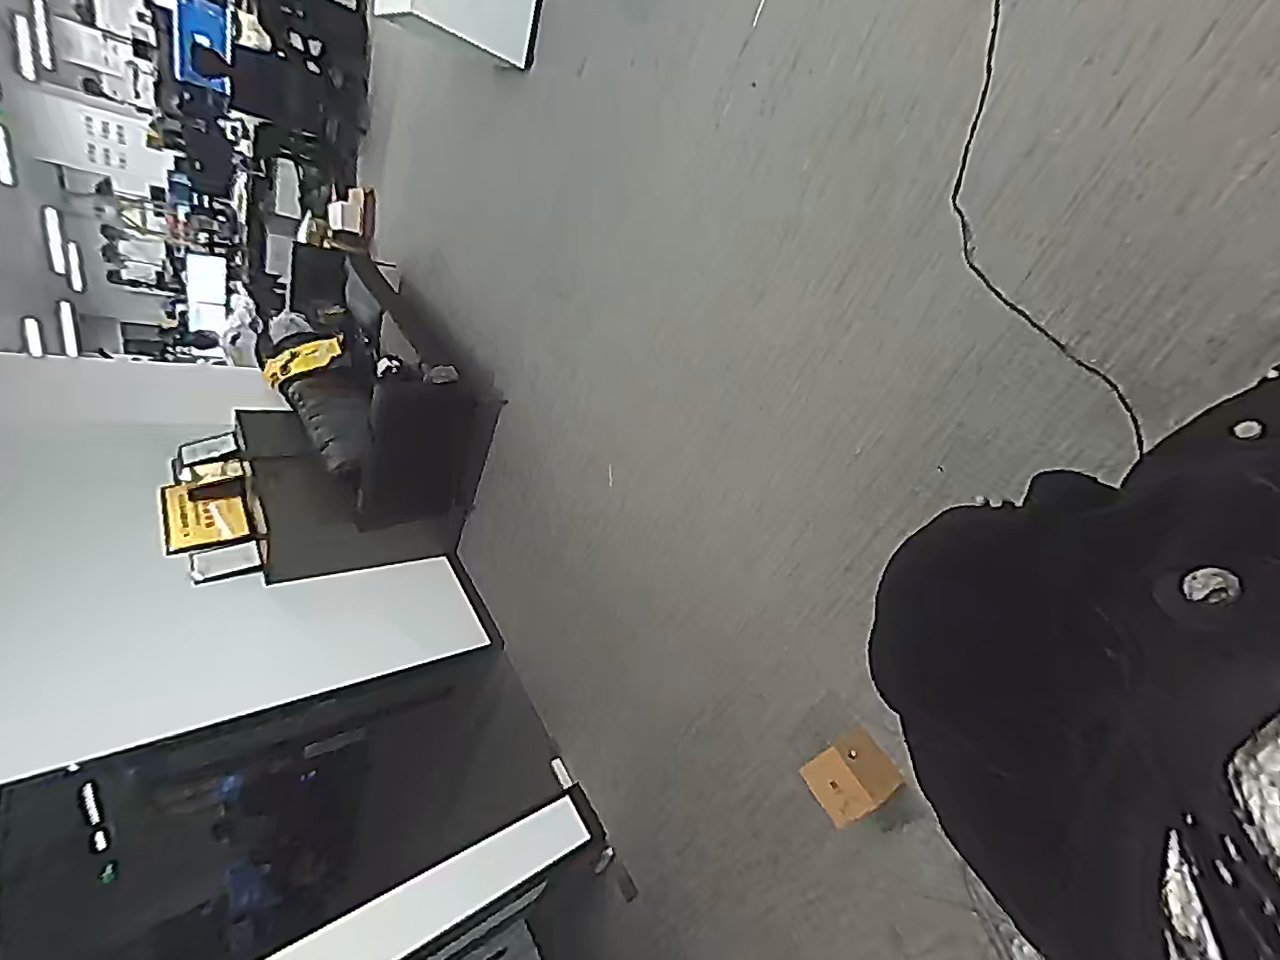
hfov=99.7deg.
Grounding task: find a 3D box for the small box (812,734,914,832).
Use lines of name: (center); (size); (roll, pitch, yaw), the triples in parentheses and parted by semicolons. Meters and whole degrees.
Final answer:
small box: (0.643, 0.862, 1.560); (0.179, 0.176, 0.168); (53, 130, 31)
